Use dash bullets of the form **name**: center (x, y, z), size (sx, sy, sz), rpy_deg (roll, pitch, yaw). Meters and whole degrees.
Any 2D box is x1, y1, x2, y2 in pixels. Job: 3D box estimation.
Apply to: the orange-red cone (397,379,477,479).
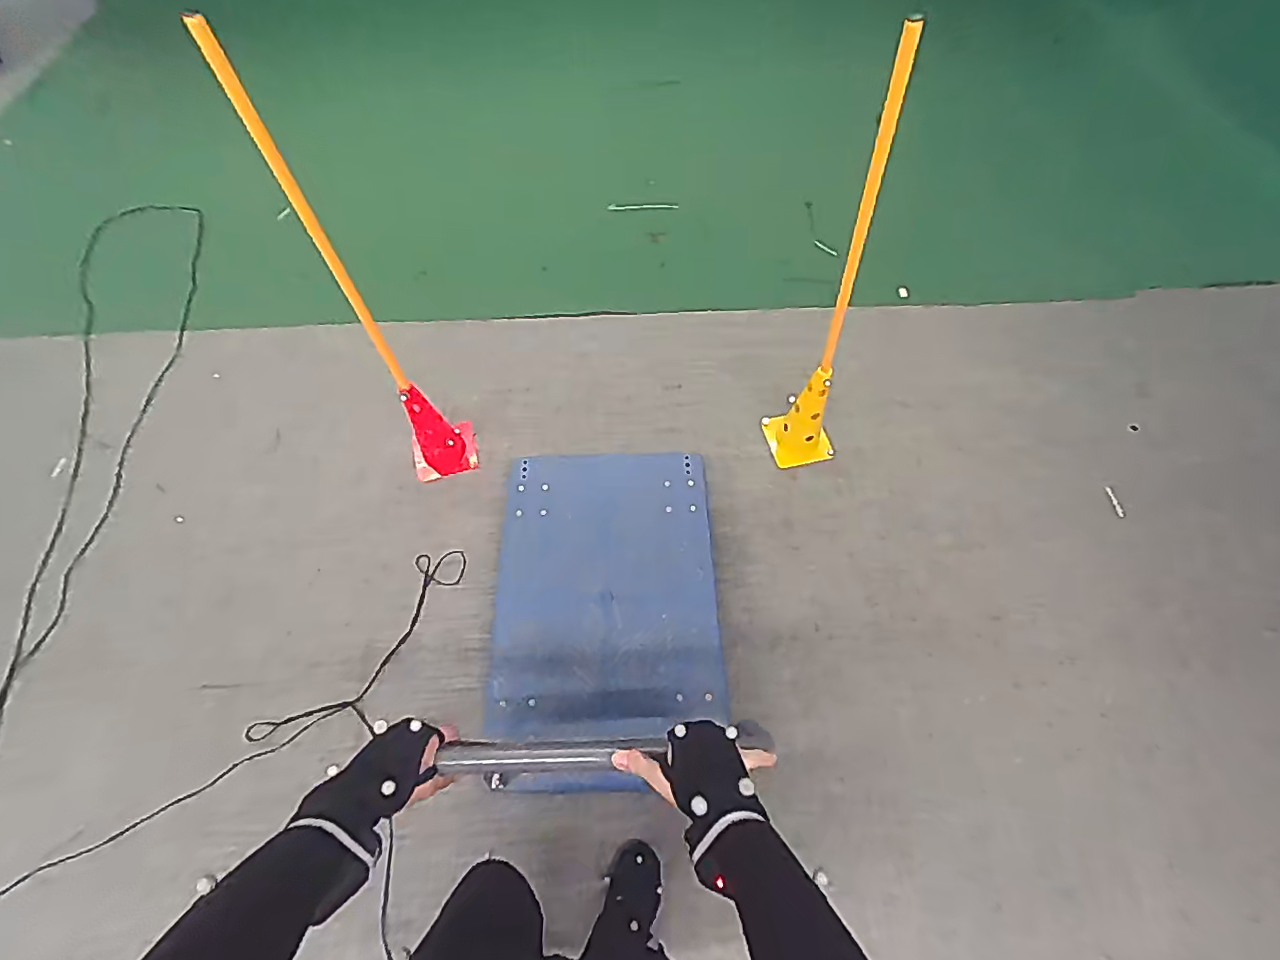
- **orange-red cone**: center (-0.656, -0.182, 1.658), size (0.199, 0.360, 0.198), rpy_deg (-15, 62, -6)
